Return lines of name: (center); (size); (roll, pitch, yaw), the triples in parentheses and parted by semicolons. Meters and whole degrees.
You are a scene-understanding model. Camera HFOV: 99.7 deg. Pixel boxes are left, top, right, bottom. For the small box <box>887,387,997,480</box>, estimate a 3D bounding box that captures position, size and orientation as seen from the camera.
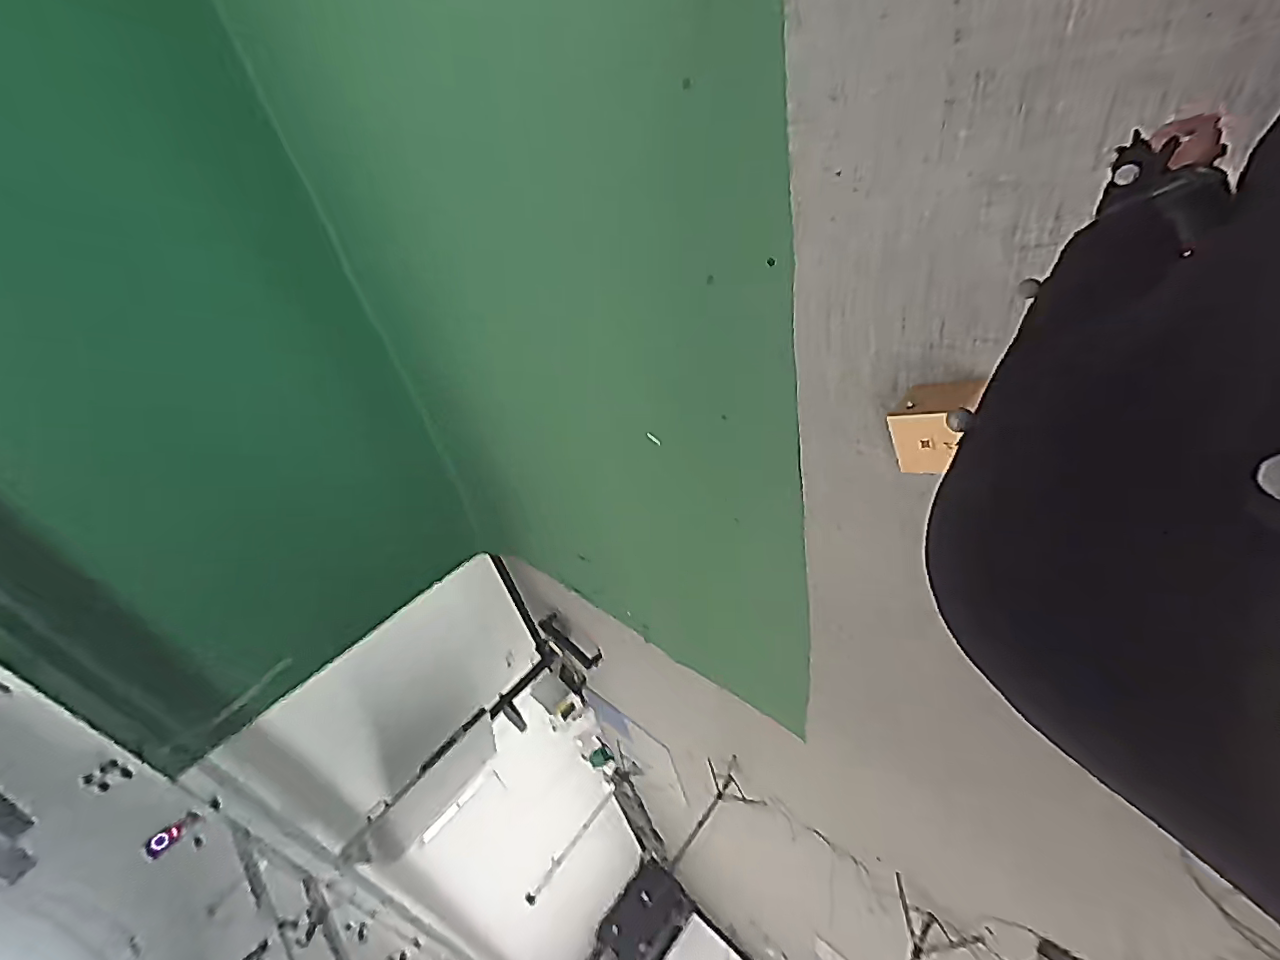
small box: (0.745, -0.116, 1.334); (0.179, 0.176, 0.168); (2, 124, 51)
